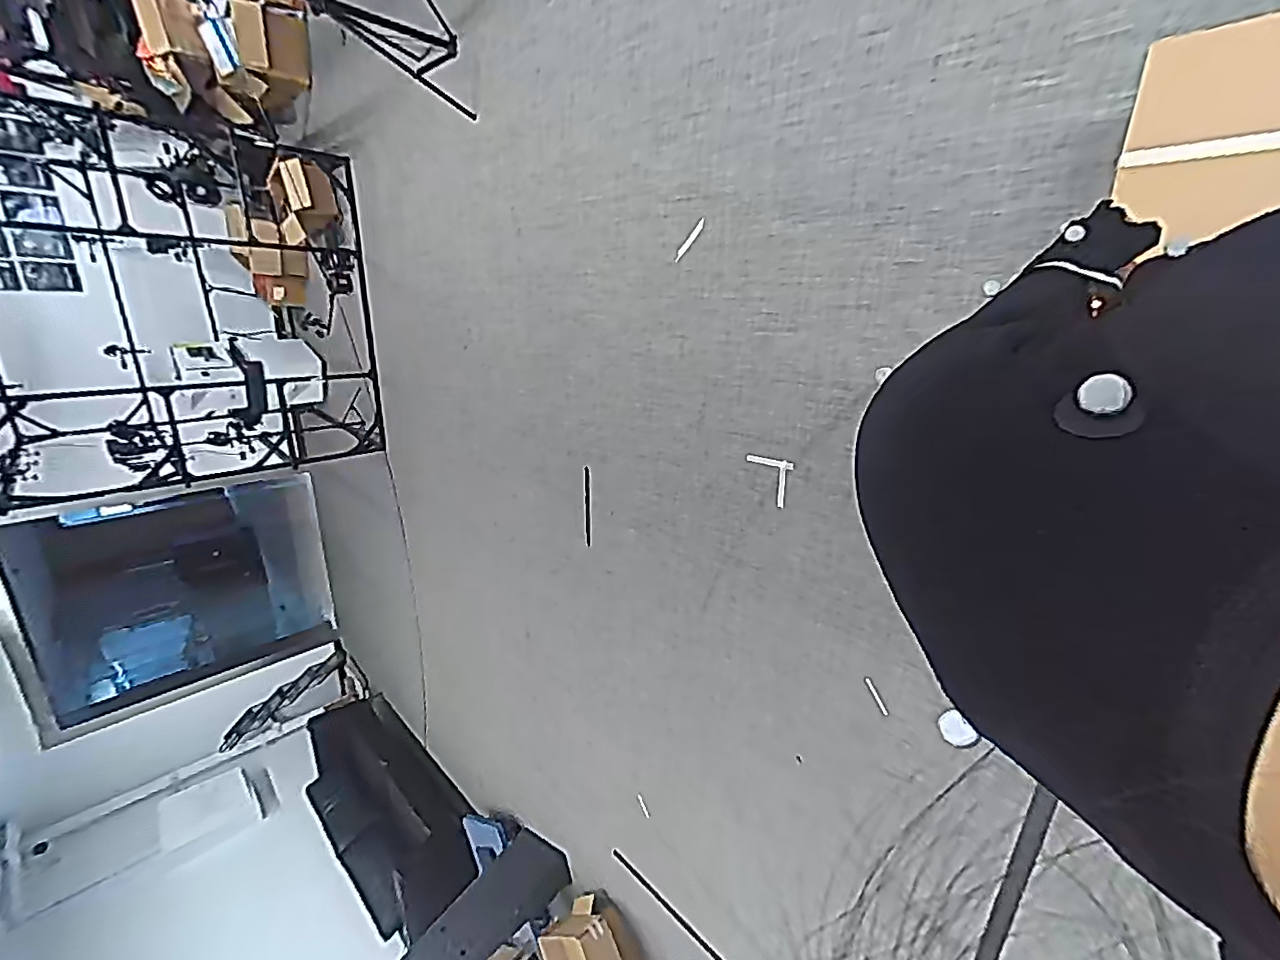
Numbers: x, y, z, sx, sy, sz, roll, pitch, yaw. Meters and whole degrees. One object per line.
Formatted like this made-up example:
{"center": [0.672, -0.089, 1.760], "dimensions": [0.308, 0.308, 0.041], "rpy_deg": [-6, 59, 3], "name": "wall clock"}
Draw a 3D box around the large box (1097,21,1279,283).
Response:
{"center": [1.007, -0.482, 0.828], "dimensions": [0.408, 0.320, 0.320], "rpy_deg": [18, 114, 42], "name": "large box"}
